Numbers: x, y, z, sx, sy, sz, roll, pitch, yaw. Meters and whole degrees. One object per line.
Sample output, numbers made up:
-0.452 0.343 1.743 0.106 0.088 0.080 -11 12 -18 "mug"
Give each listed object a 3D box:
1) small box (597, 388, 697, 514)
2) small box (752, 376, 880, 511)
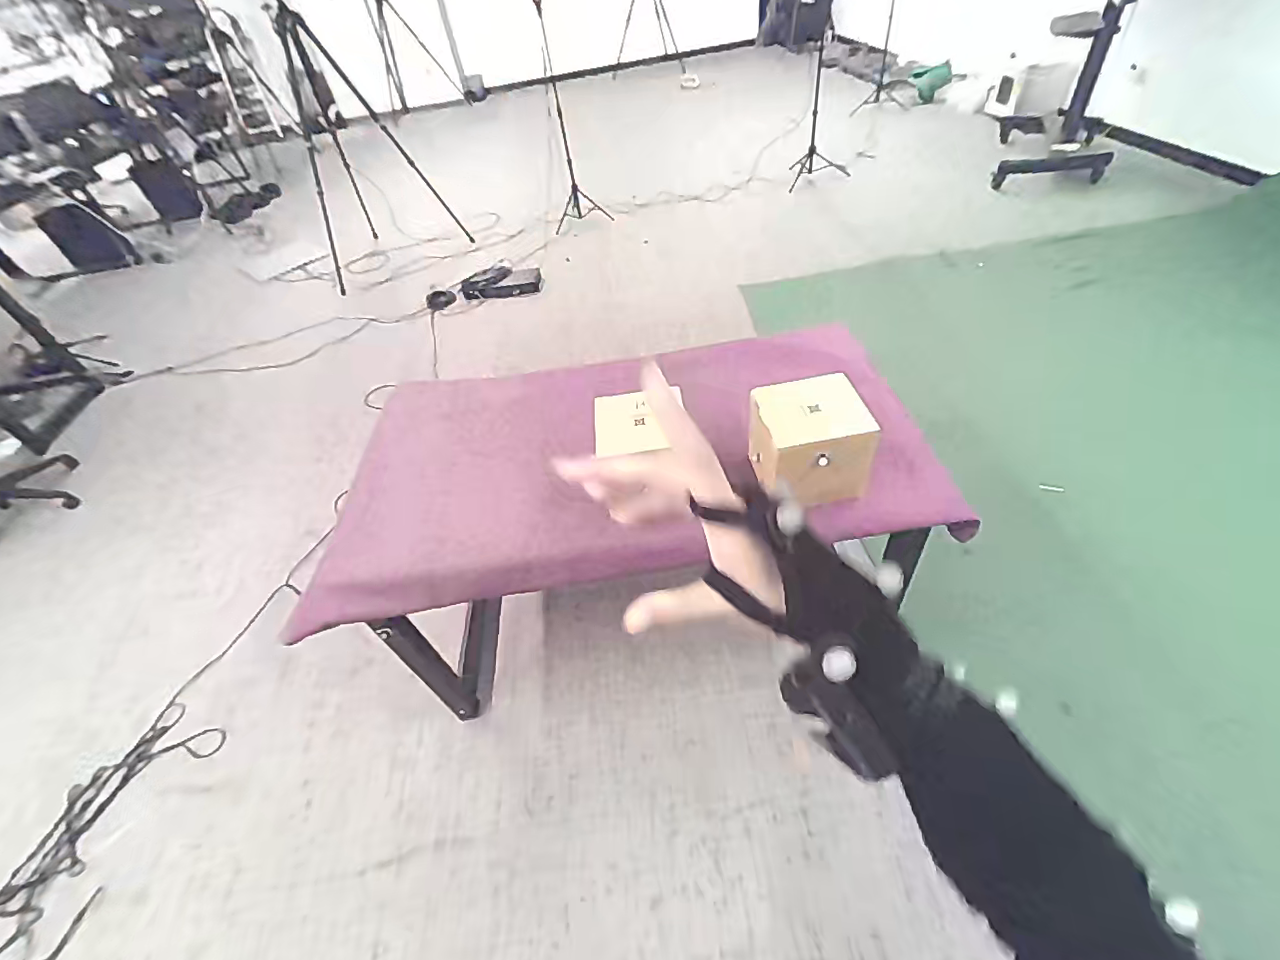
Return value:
0.014 -0.049 1.036 0.168 0.176 0.179 -8 44 3 "small box"
0.311 -0.064 0.999 0.179 0.176 0.168 -11 46 1 "small box"
